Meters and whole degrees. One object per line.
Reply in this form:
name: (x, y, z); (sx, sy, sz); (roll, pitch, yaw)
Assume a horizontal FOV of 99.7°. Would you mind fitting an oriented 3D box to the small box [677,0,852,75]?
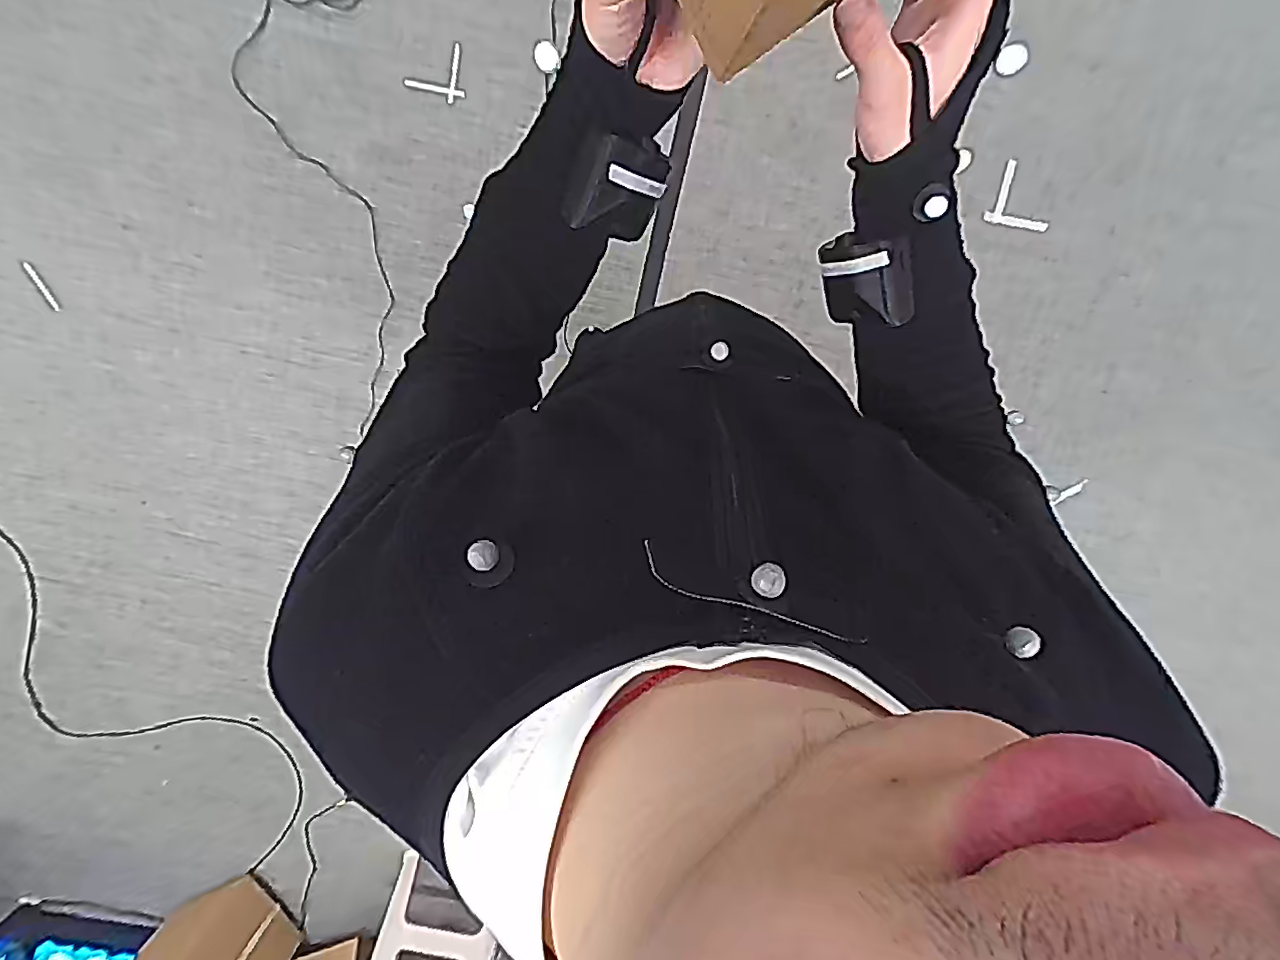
small box: (0.079, -0.288, 0.176); (0.179, 0.176, 0.168); (-32, 109, 8)
